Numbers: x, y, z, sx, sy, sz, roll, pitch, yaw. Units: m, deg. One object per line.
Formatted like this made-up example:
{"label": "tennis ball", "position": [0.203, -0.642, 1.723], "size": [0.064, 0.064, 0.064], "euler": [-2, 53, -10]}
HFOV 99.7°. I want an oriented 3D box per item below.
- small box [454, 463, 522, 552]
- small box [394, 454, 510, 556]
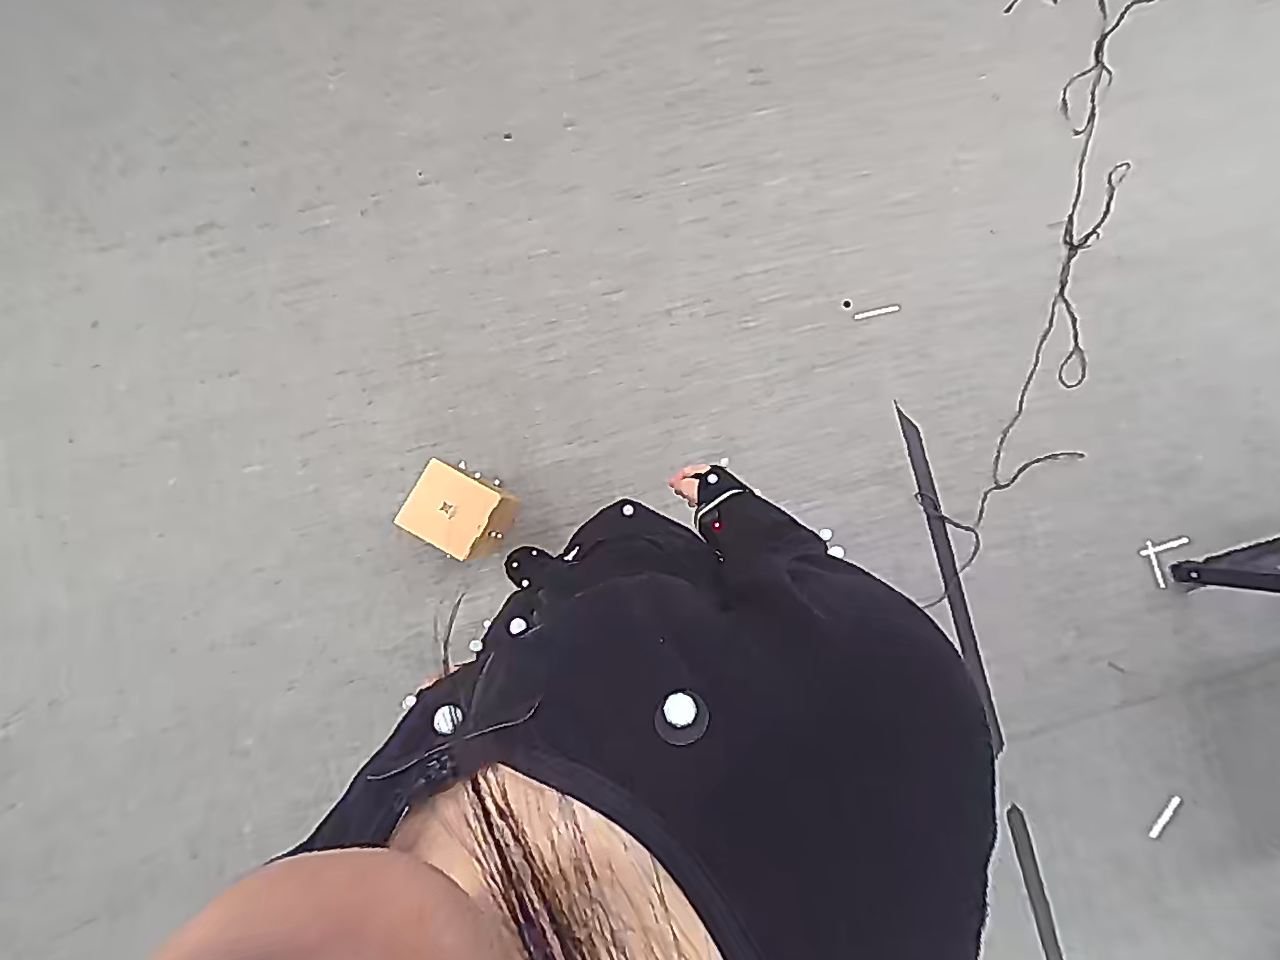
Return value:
{"label": "small box", "position": [-0.433, 0.075, 1.415], "size": [0.179, 0.176, 0.168], "euler": [30, 85, 0]}
{"label": "small box", "position": [-0.424, 0.062, 1.252], "size": [0.179, 0.176, 0.168], "euler": [29, 84, -2]}
